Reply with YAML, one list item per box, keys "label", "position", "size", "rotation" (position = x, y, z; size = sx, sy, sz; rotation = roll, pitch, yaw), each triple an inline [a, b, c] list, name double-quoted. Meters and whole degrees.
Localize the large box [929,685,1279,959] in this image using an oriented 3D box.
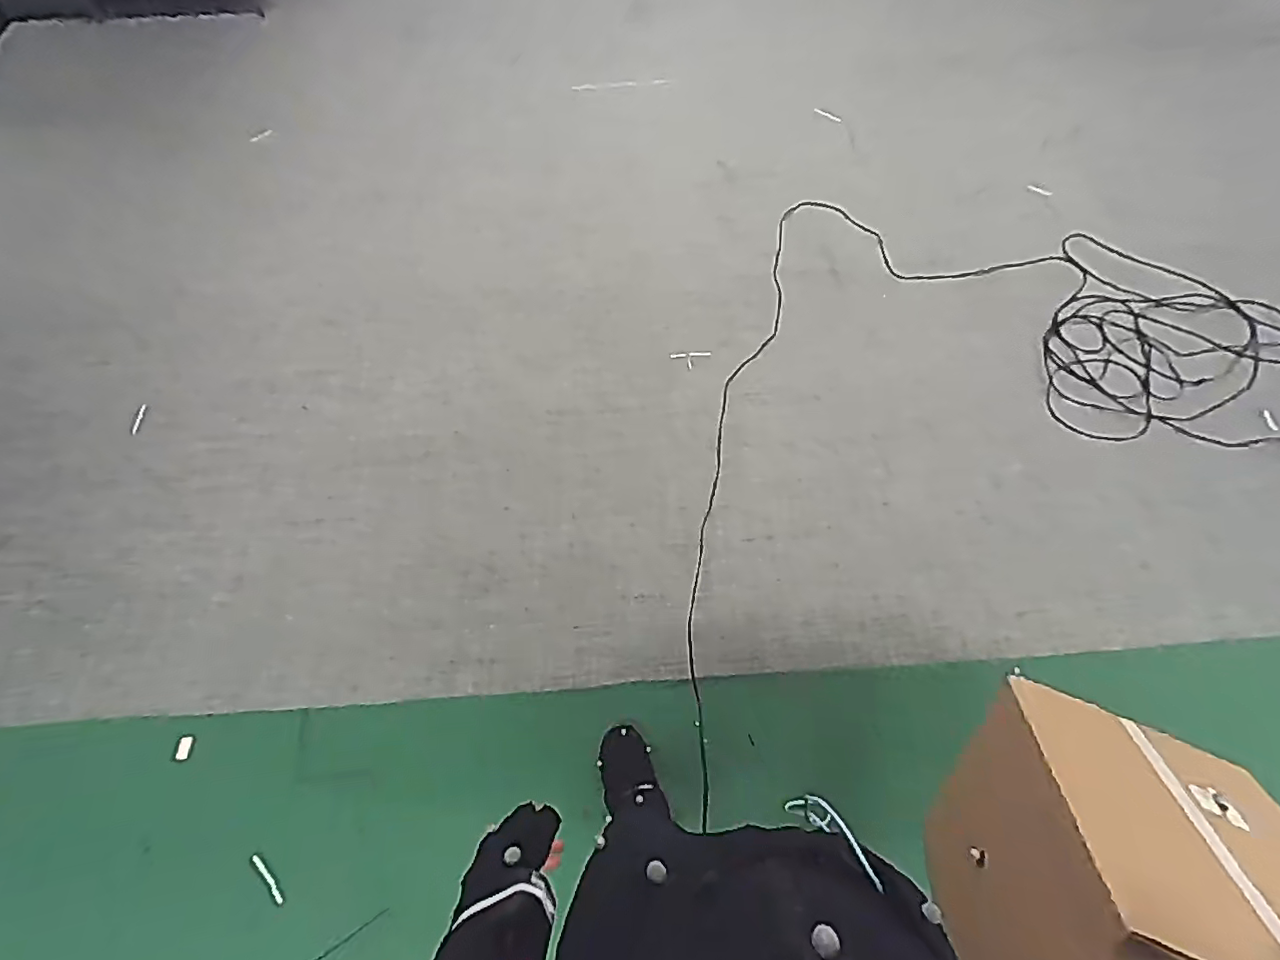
- label: "large box"
  position: [0.593, 0.543, 0.653]
  size: [0.320, 0.408, 0.320]
  rotation: [22, 109, 15]
